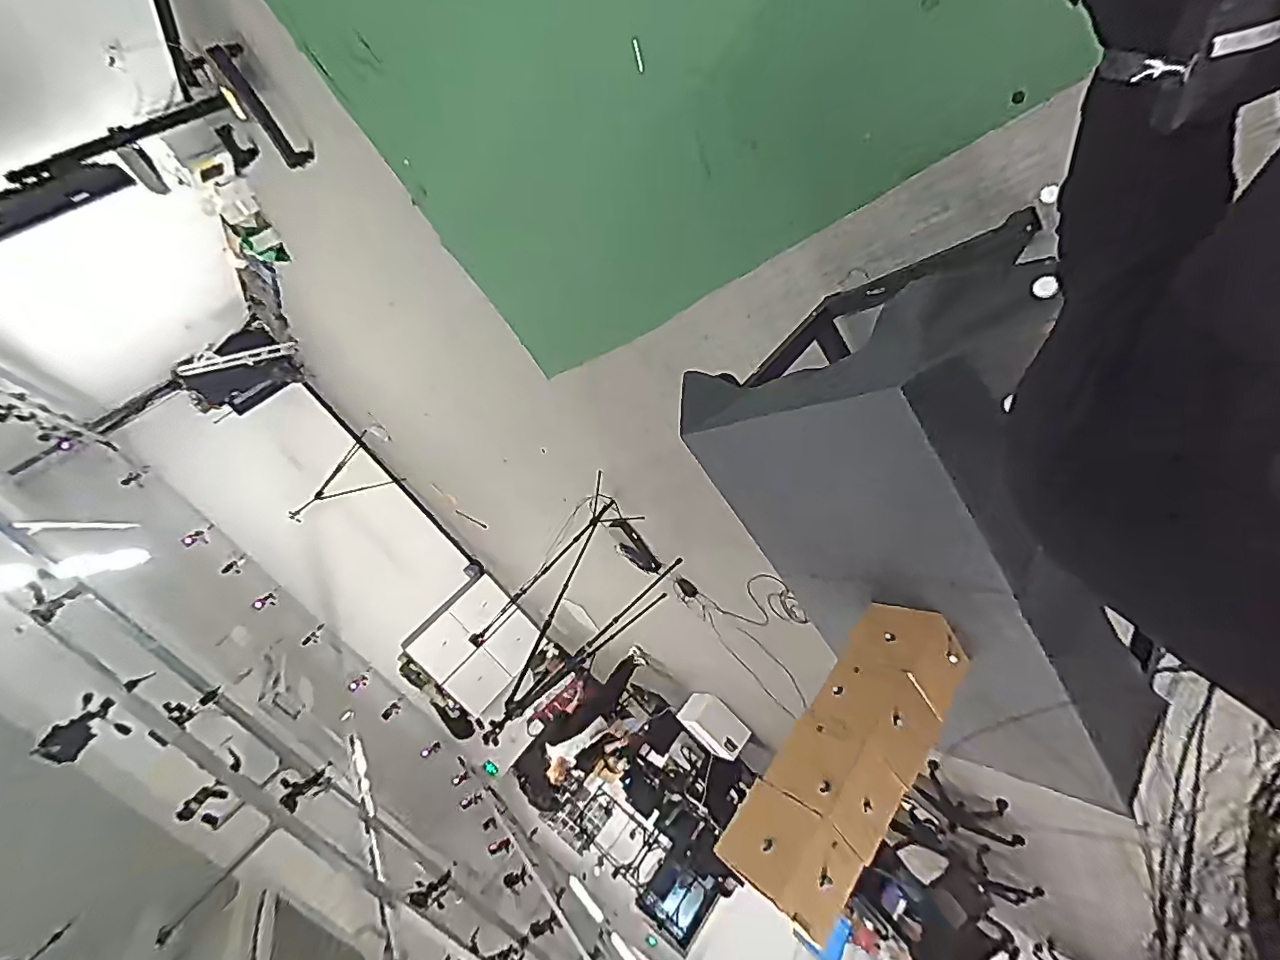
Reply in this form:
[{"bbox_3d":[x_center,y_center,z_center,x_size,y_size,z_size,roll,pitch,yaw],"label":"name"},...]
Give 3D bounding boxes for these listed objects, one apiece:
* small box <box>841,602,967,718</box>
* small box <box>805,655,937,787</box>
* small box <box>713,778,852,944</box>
[{"bbox_3d":[0.602,0.399,1.234,0.168,0.176,0.179,53,152,-18],"label":"small box"},{"bbox_3d":[0.500,0.507,1.167,0.179,0.176,0.168,52,154,-16],"label":"small box"},{"bbox_3d":[0.282,0.720,1.046,0.168,0.176,0.179,52,154,-16],"label":"small box"}]
